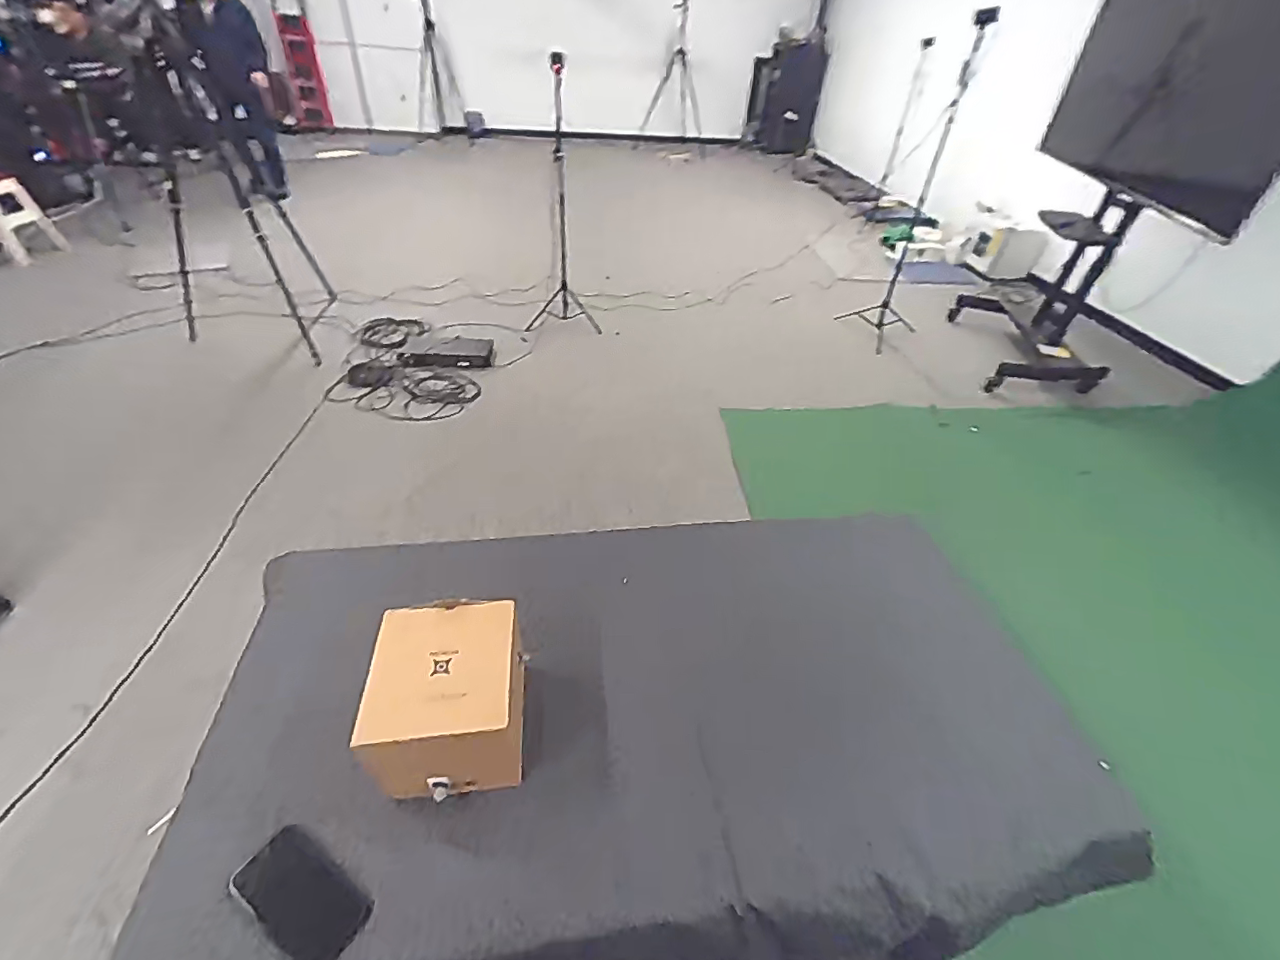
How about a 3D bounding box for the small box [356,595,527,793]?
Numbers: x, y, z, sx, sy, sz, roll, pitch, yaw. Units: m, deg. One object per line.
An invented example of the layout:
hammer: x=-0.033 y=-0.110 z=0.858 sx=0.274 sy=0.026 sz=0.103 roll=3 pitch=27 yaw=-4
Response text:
small box: x=-0.239 y=0.274 z=0.701 sx=0.168 sy=0.176 sz=0.179 roll=-4 pitch=43 yaw=-8
